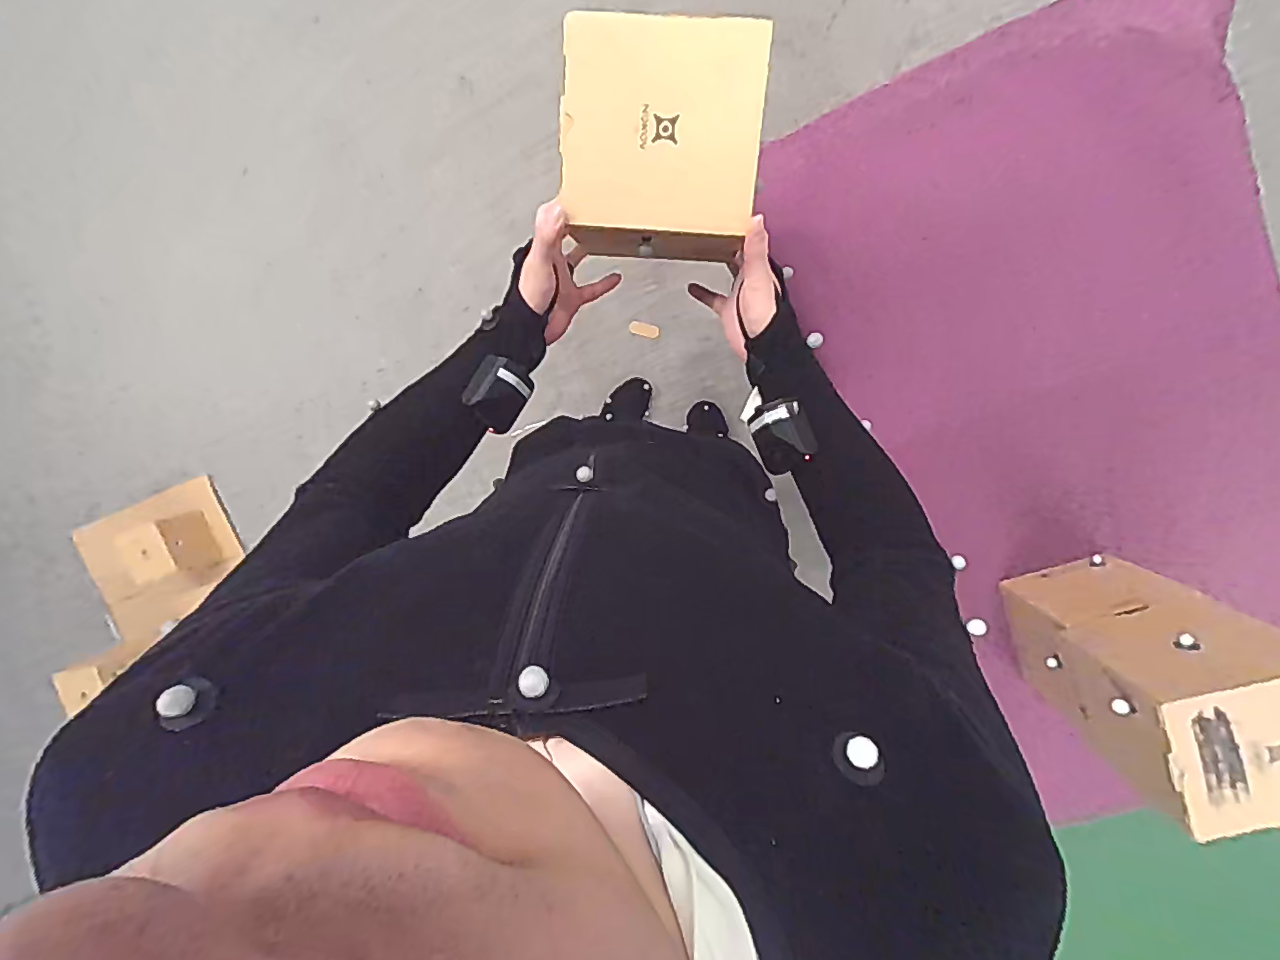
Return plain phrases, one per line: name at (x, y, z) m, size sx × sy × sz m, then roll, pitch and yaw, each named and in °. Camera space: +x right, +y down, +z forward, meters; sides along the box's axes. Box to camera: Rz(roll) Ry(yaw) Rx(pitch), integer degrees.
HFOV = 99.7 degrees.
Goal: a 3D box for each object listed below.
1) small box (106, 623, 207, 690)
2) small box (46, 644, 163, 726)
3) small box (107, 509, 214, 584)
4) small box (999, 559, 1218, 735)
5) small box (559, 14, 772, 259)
small box at (-1.633, 0.600, 1.835) m, size 0.168 × 0.176 × 0.179 m, roll -11°, pitch 98°, yaw 8°
small box at (-1.645, 0.624, 1.671) m, size 0.168 × 0.176 × 0.179 m, roll -12°, pitch 99°, yaw 9°
small box at (-1.548, 0.211, 1.759) m, size 0.168 × 0.176 × 0.179 m, roll -19°, pitch 98°, yaw 9°
small box at (0.666, 0.229, 0.791) m, size 0.168 × 0.176 × 0.179 m, roll -18°, pitch 98°, yaw 9°
small box at (0.023, -0.323, 0.544) m, size 0.179 × 0.176 × 0.168 m, roll 5°, pitch 105°, yaw 4°
